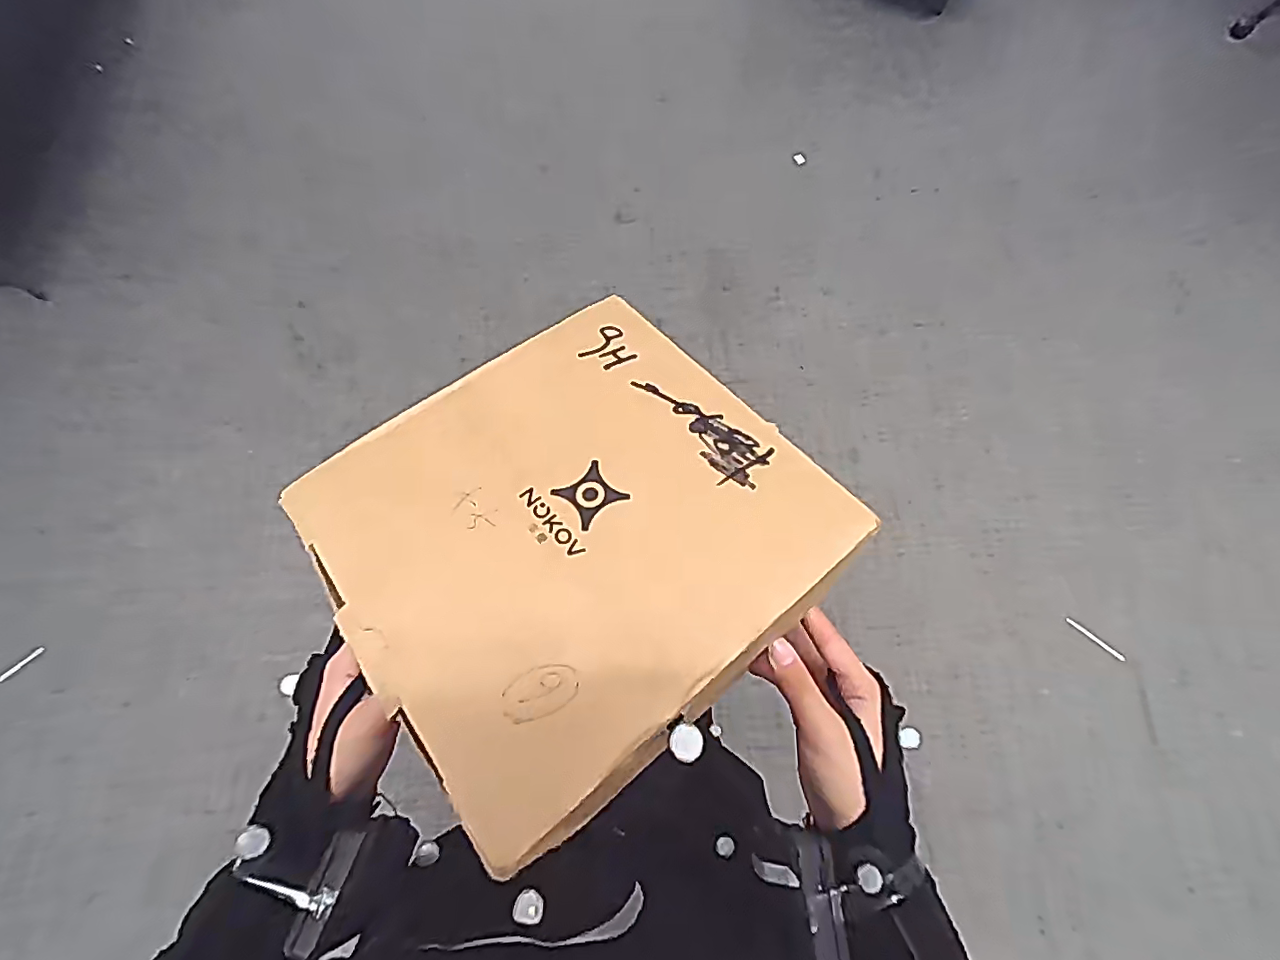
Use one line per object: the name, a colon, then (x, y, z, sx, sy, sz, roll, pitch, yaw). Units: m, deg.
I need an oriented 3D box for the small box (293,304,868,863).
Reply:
small box: (-0.024, 0.053, 0.282, 0.179, 0.176, 0.168, -36, 65, -17)
